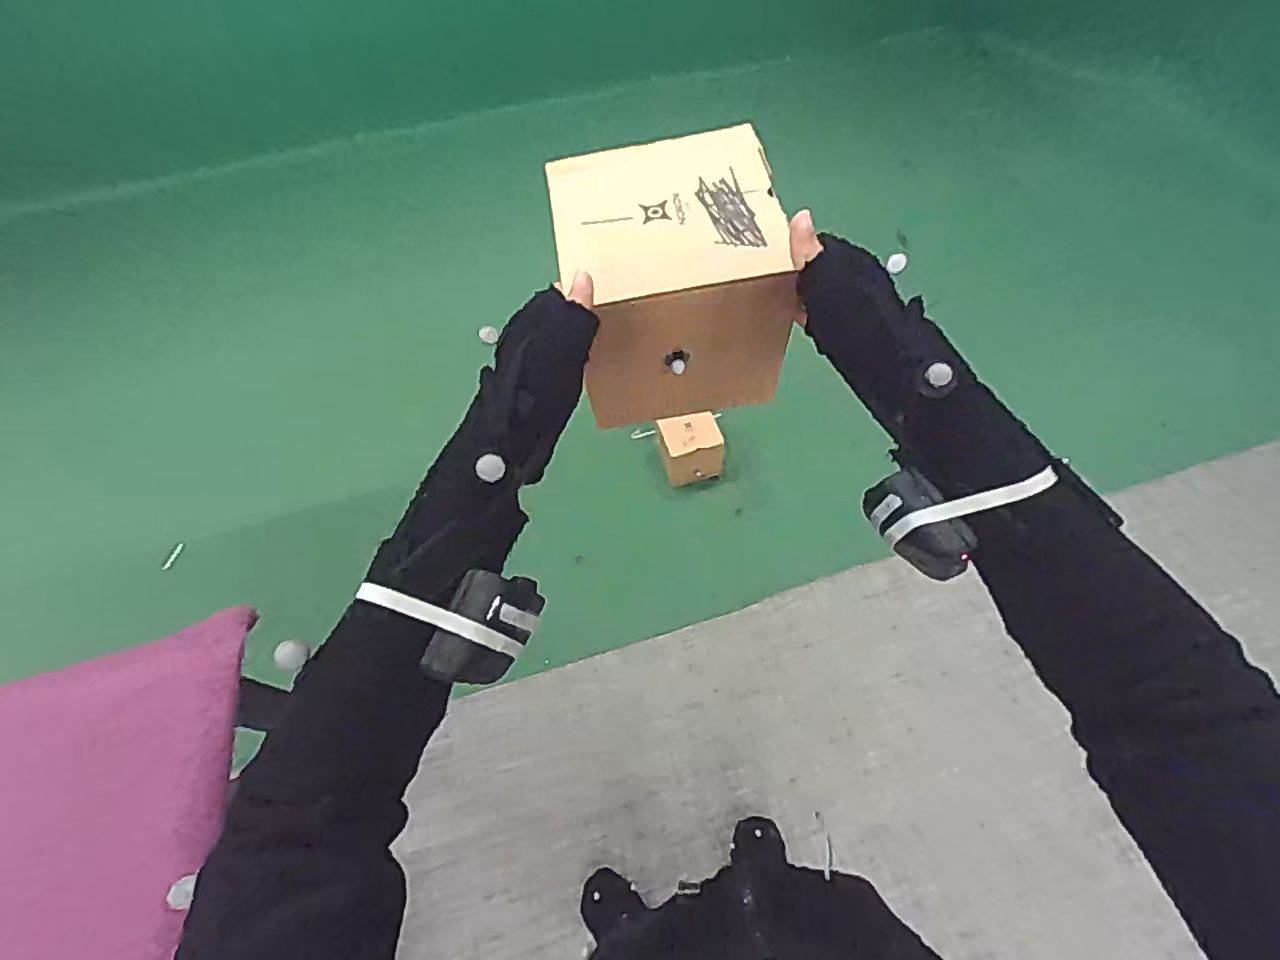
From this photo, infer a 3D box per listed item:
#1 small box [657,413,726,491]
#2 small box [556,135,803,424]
[{"bbox_3d":[0.155,-0.094,1.672,0.168,0.176,0.179,-16,57,-6],"label":"small box"},{"bbox_3d":[0.028,-0.168,0.485,0.179,0.176,0.168,-7,62,2],"label":"small box"}]
